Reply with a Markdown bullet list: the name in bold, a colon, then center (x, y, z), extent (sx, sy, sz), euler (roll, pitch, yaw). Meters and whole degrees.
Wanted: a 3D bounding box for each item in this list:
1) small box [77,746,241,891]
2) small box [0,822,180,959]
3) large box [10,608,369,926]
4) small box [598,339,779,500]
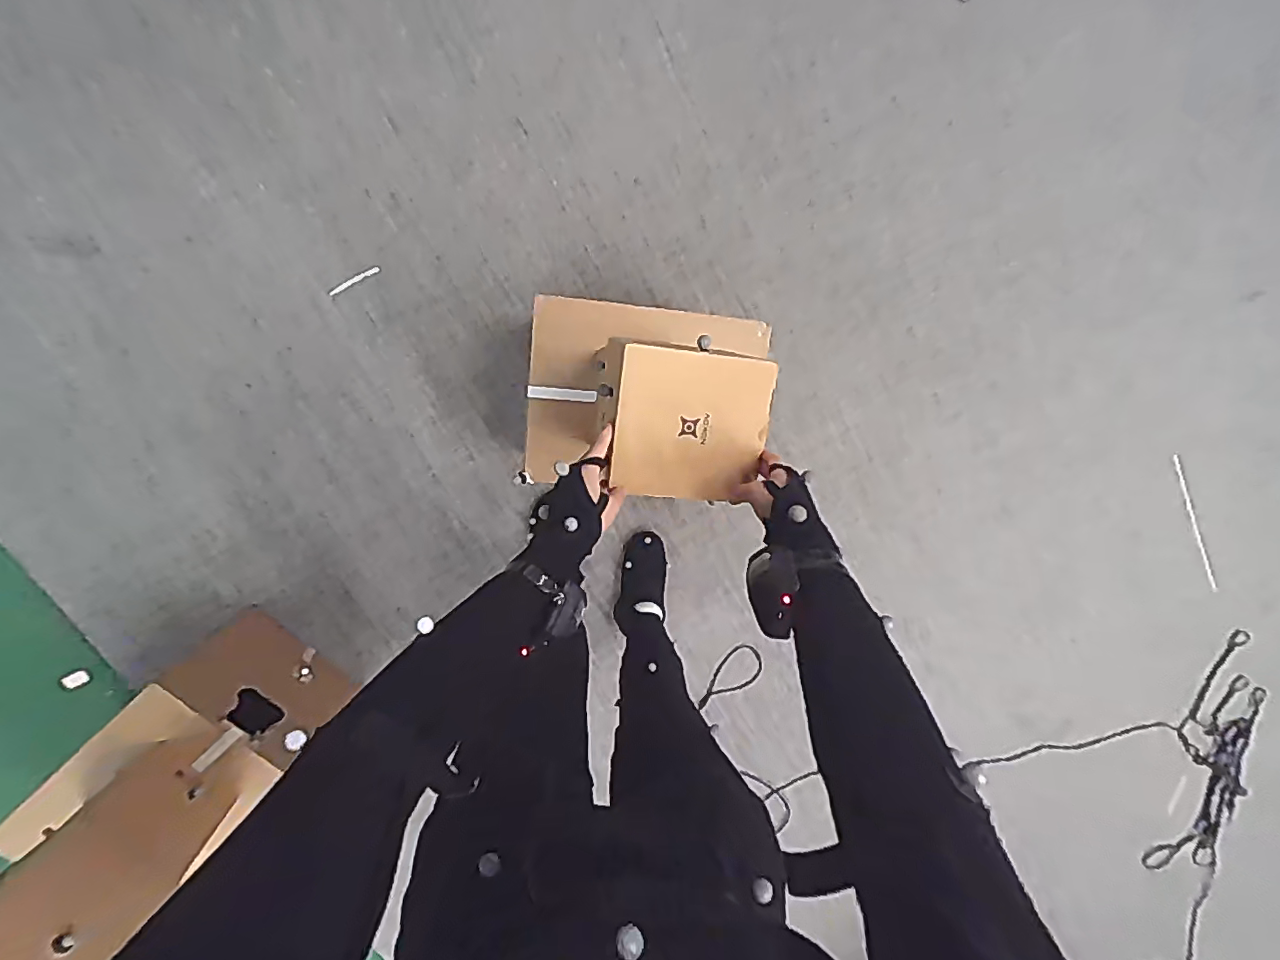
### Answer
- **small box**: center (-0.789, 0.569, 0.848), extent (0.179, 0.176, 0.168), euler (-40, 105, 0)
- **small box**: center (-0.759, 0.590, 0.688), extent (0.168, 0.176, 0.179), euler (-38, 105, 0)
- **large box**: center (-0.846, 0.543, 1.086), extent (0.408, 0.320, 0.320), euler (-43, 103, 2)
- **small box**: center (0.046, -0.081, 0.669), extent (0.179, 0.176, 0.168), euler (3, 105, -12)
